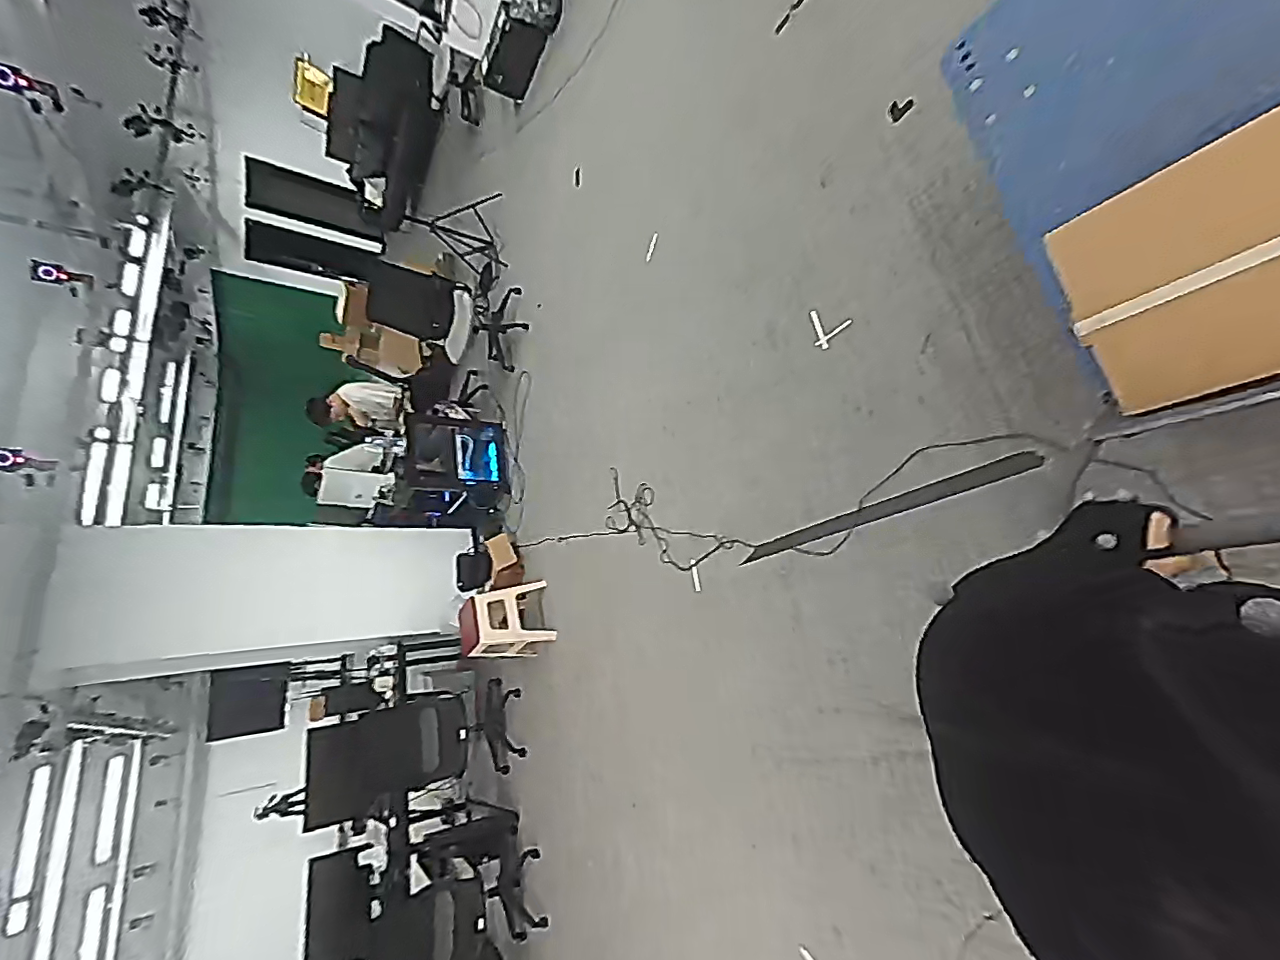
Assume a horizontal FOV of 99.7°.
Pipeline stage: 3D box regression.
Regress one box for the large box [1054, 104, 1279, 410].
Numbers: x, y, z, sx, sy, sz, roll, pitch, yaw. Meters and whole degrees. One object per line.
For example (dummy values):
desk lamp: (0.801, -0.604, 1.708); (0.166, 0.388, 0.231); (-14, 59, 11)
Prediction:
large box: (0.925, -0.341, 0.779); (0.408, 0.320, 0.320); (-28, 83, 51)
